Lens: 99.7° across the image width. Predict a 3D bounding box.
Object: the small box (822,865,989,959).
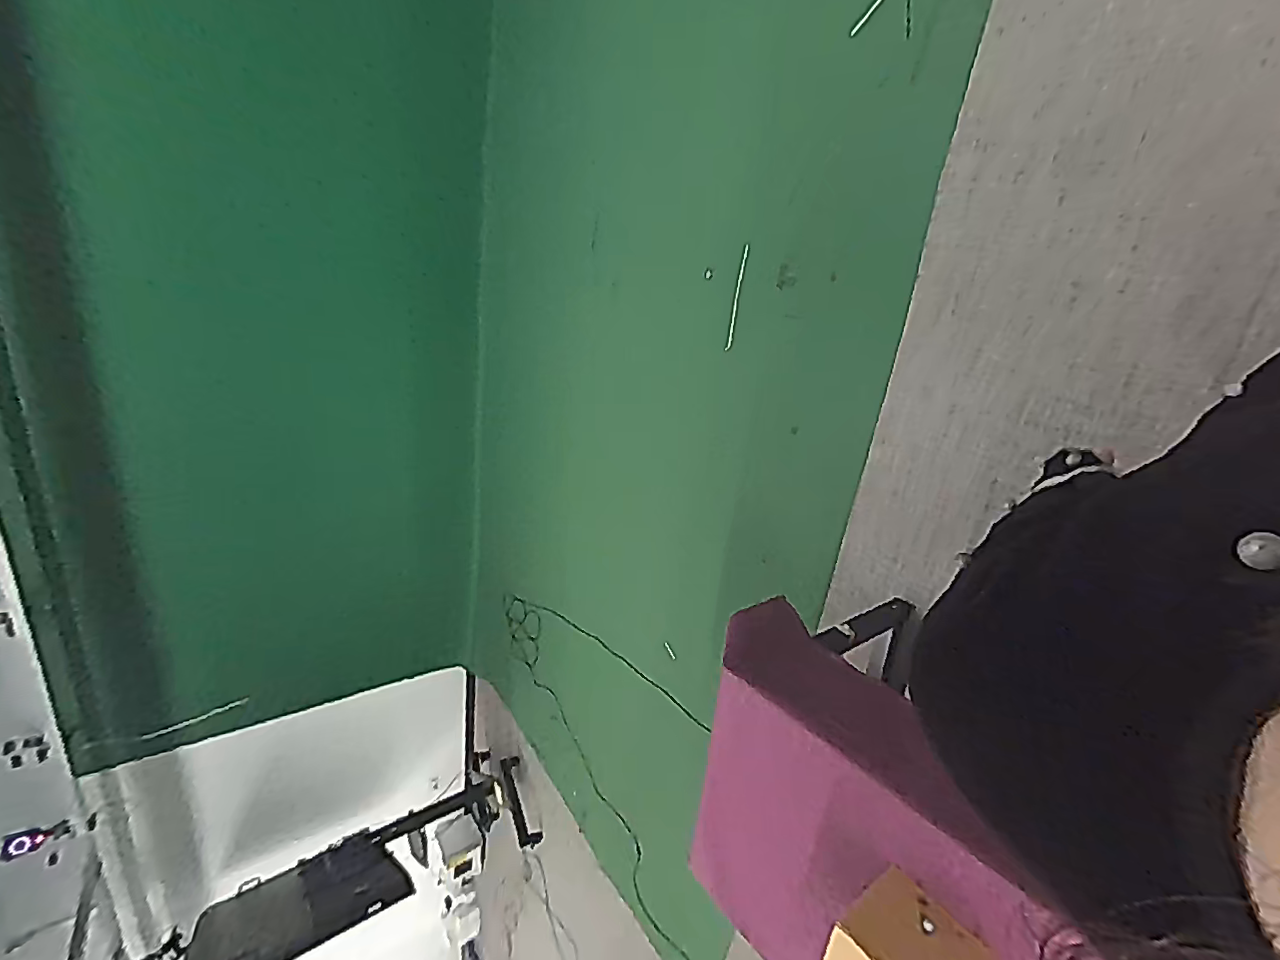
[{"bbox_3d":[0.400,0.755,0.830,0.168,0.176,0.179,28,118,47],"label":"small box"}]
